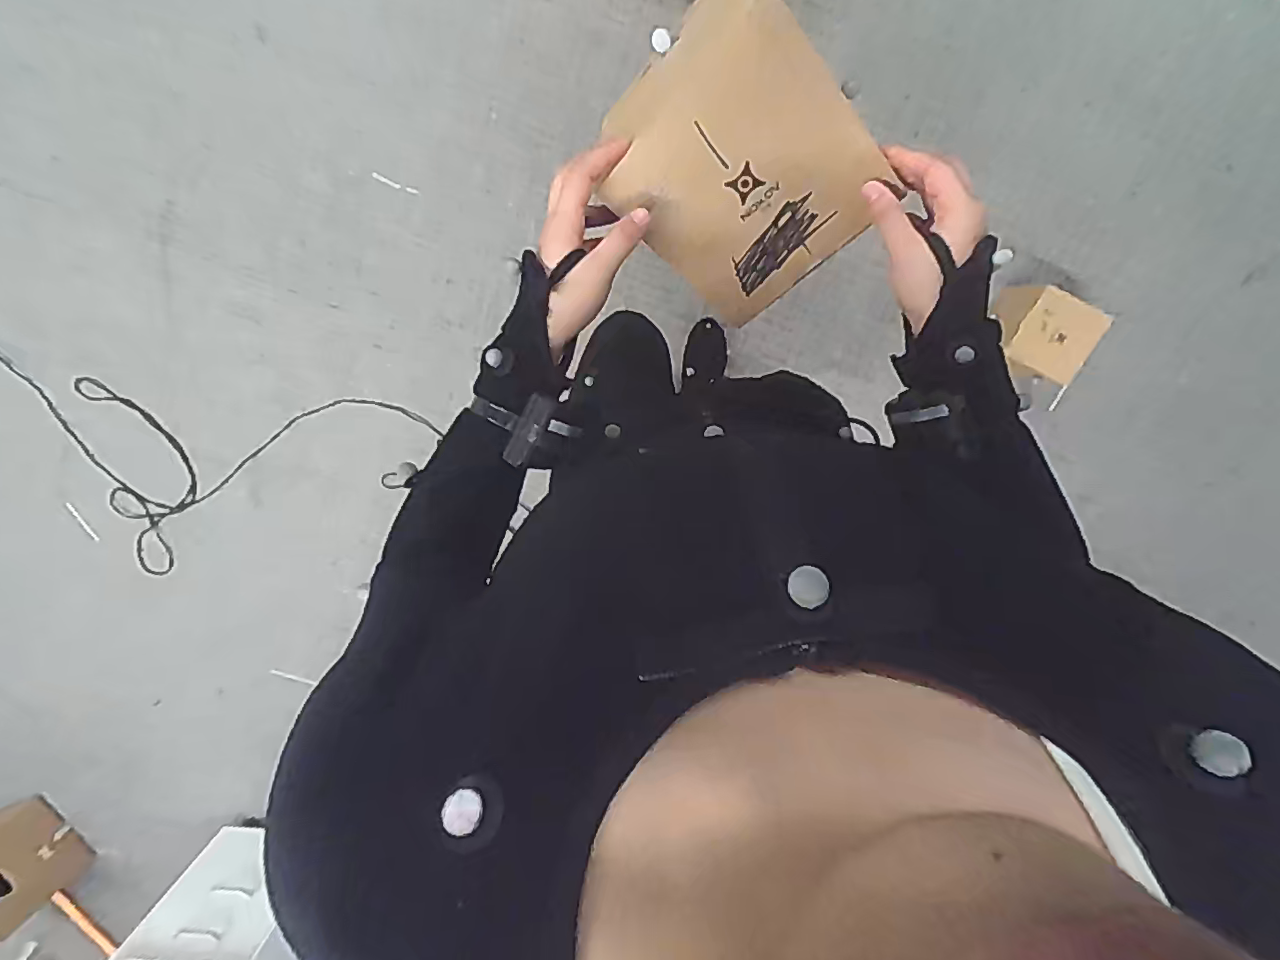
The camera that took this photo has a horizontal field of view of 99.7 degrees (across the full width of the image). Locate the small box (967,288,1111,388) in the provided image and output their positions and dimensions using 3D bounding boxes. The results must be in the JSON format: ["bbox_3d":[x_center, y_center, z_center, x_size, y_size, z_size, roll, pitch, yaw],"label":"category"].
[{"bbox_3d":[0.932,-0.339,1.281,0.179,0.176,0.168,25,106,-5],"label":"small box"}]
